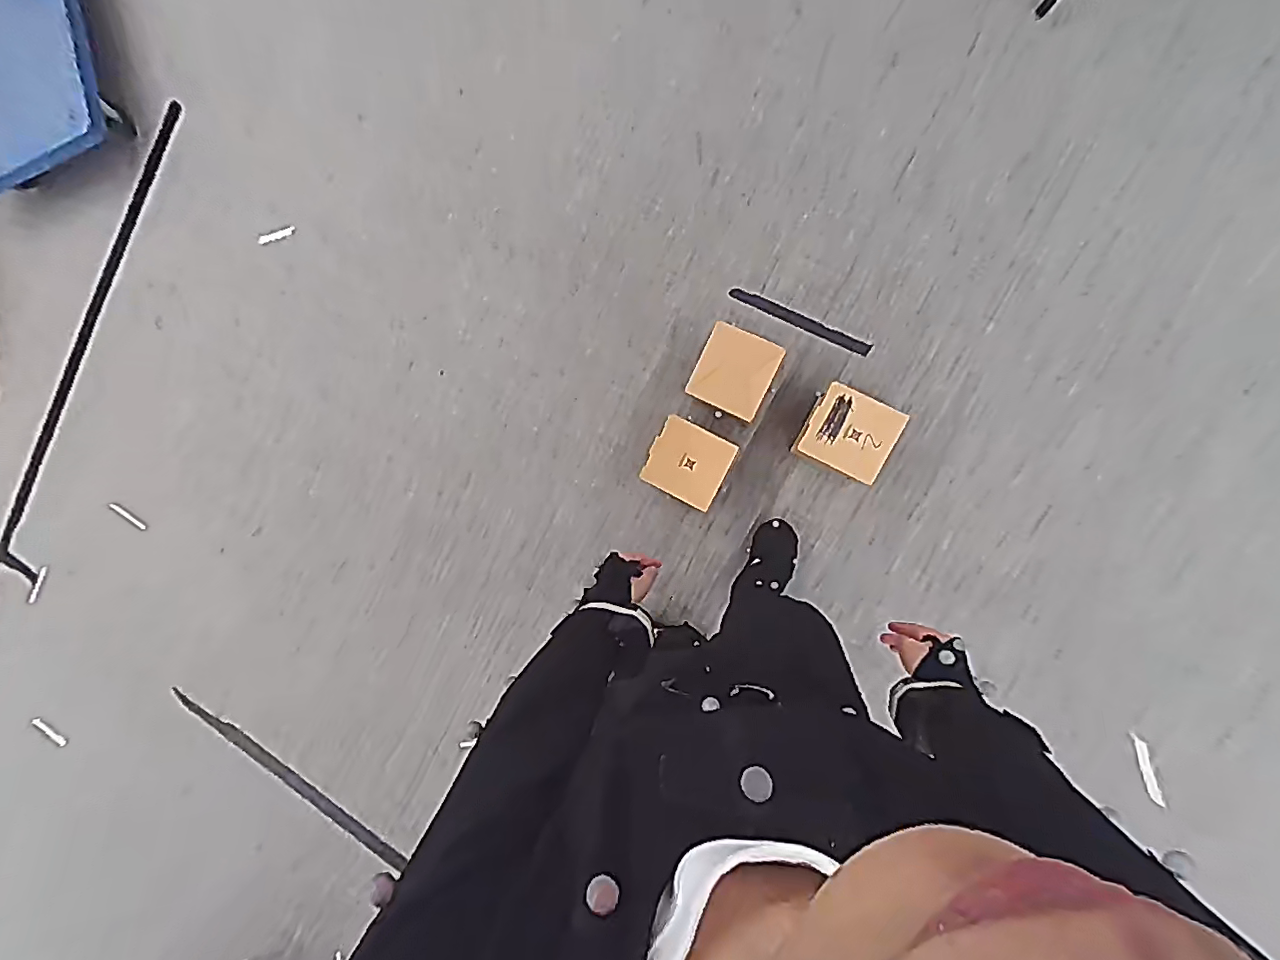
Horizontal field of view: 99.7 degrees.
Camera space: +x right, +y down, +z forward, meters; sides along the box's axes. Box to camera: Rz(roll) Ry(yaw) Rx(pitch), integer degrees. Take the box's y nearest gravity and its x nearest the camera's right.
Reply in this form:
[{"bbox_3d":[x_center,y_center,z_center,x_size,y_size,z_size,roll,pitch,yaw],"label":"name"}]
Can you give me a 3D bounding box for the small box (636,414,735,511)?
[{"bbox_3d":[0.116,-0.044,1.295,0.179,0.176,0.168,28,96,10],"label":"small box"}]
